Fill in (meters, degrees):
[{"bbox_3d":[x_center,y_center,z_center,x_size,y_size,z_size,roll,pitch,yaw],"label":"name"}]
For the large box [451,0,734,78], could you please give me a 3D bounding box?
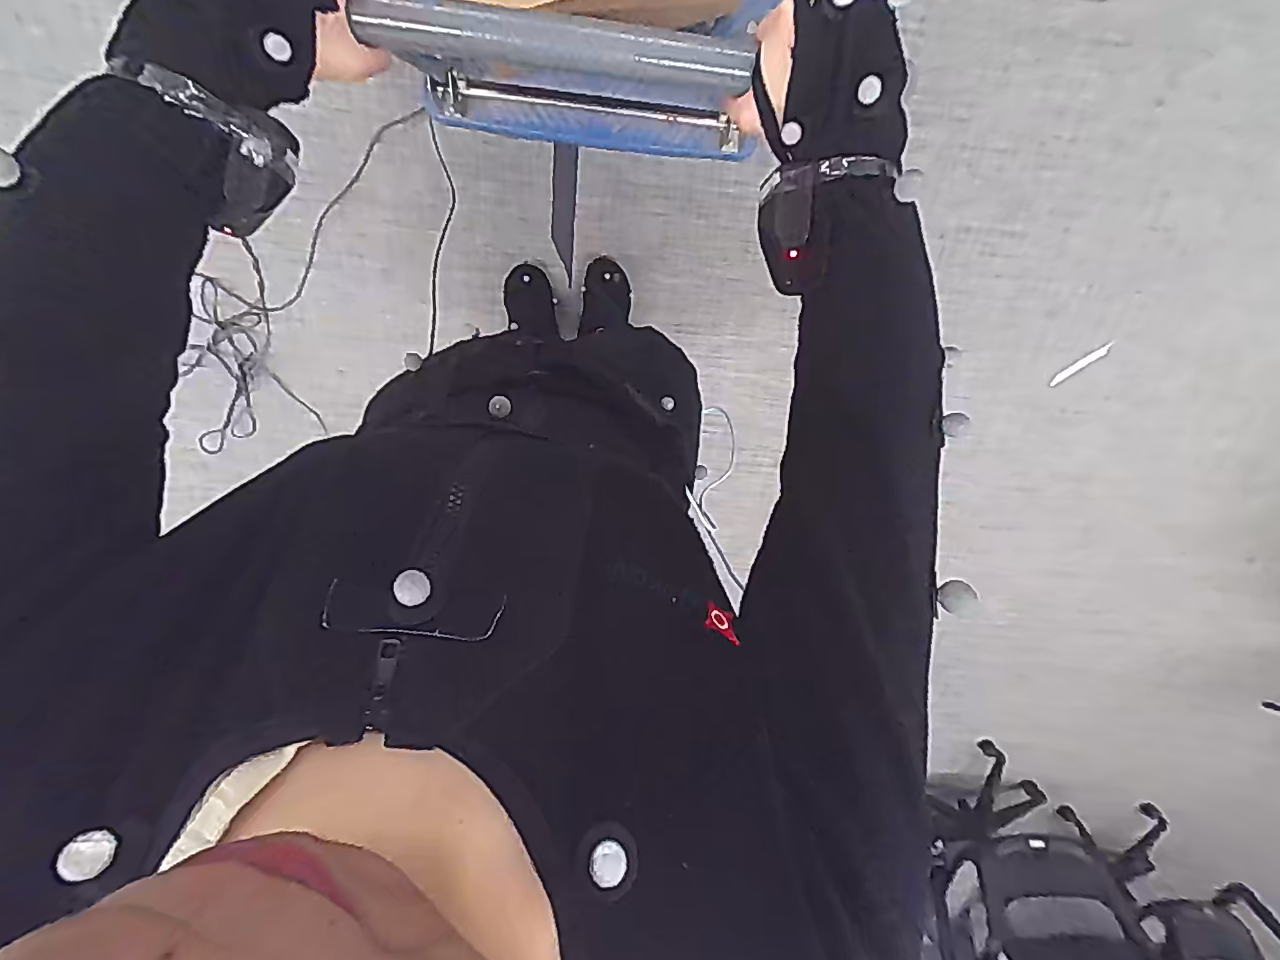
[{"bbox_3d":[-0.071,-0.773,0.682,0.408,0.320,0.320,-14,118,3],"label":"large box"}]
